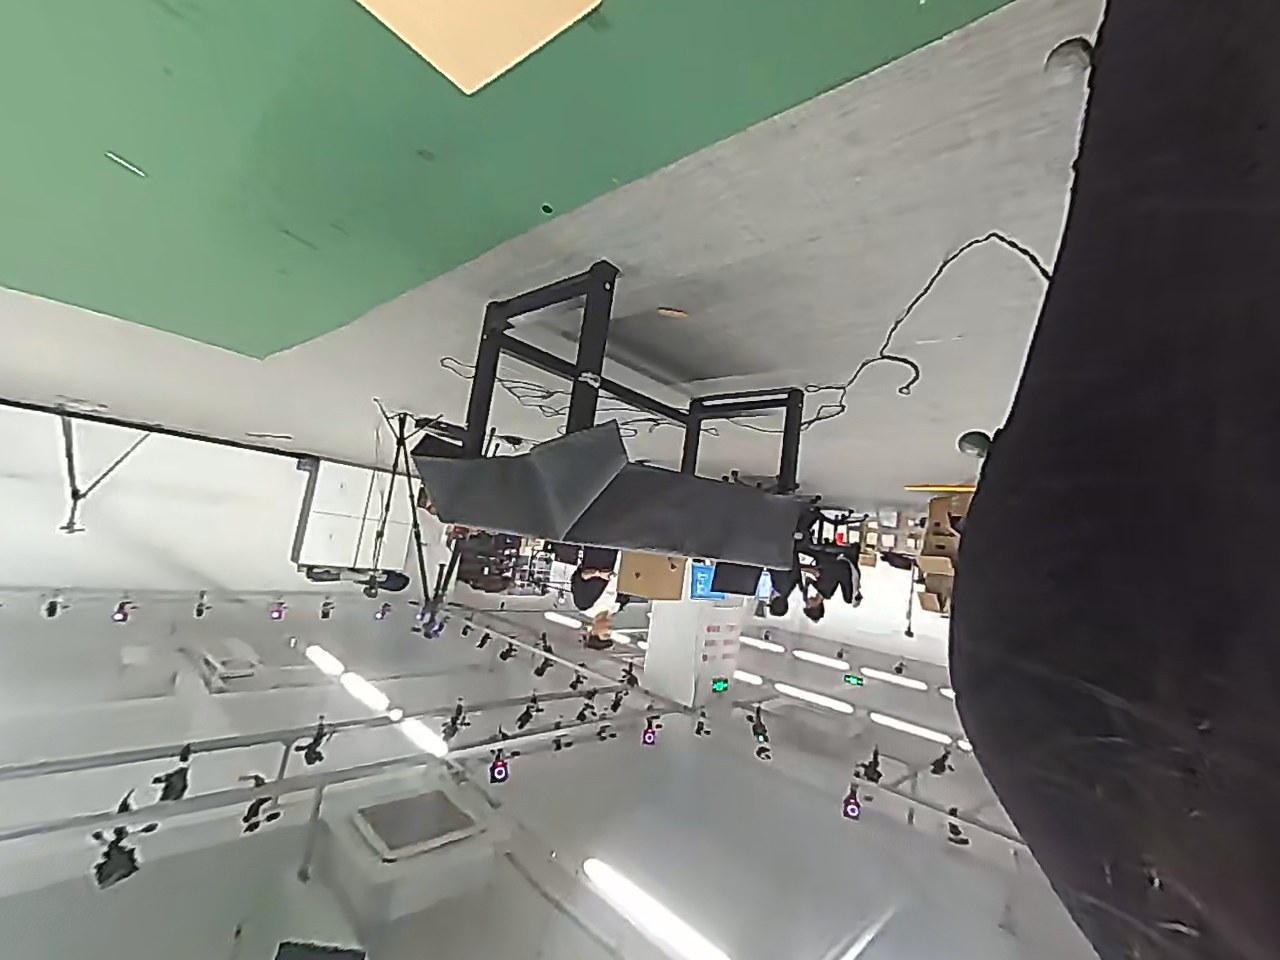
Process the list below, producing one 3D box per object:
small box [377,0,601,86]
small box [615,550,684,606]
[{"bbox_3d":[-0.123,-0.451,0.391,0.179,0.176,0.168,3,171,39],"label":"small box"},{"bbox_3d":[0.038,0.344,1.915,0.179,0.176,0.168,2,170,42],"label":"small box"}]
